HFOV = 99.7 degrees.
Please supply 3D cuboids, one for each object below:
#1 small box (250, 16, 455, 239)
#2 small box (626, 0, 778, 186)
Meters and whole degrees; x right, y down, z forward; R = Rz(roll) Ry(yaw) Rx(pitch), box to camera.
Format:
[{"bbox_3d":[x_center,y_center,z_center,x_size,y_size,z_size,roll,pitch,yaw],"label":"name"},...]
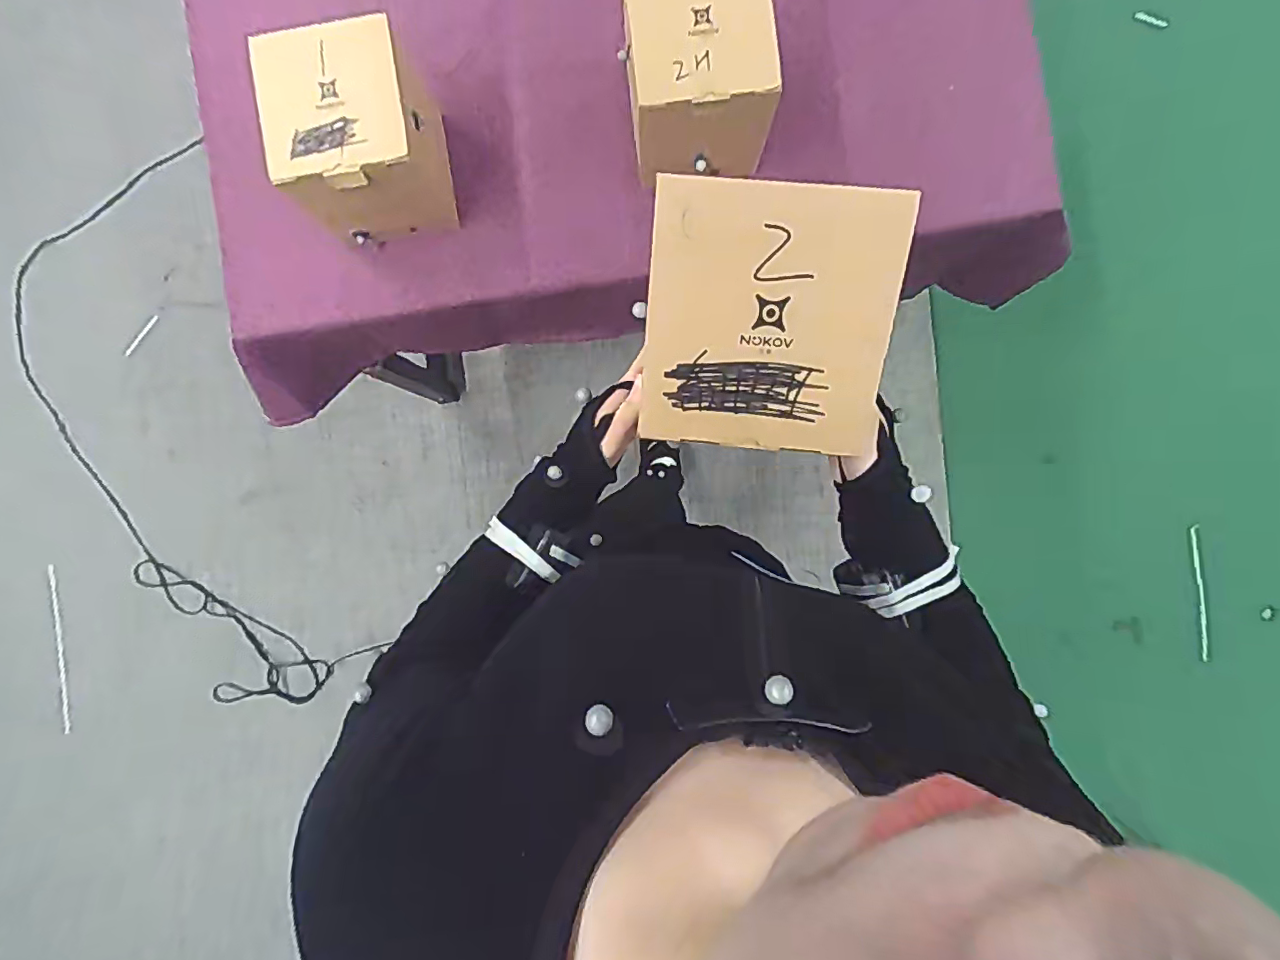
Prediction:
[{"bbox_3d":[-0.356,-0.435,0.702,0.168,0.176,0.179,-9,88,0],"label":"small box"},{"bbox_3d":[0.070,-0.514,0.694,0.168,0.176,0.179,-6,89,1],"label":"small box"}]
